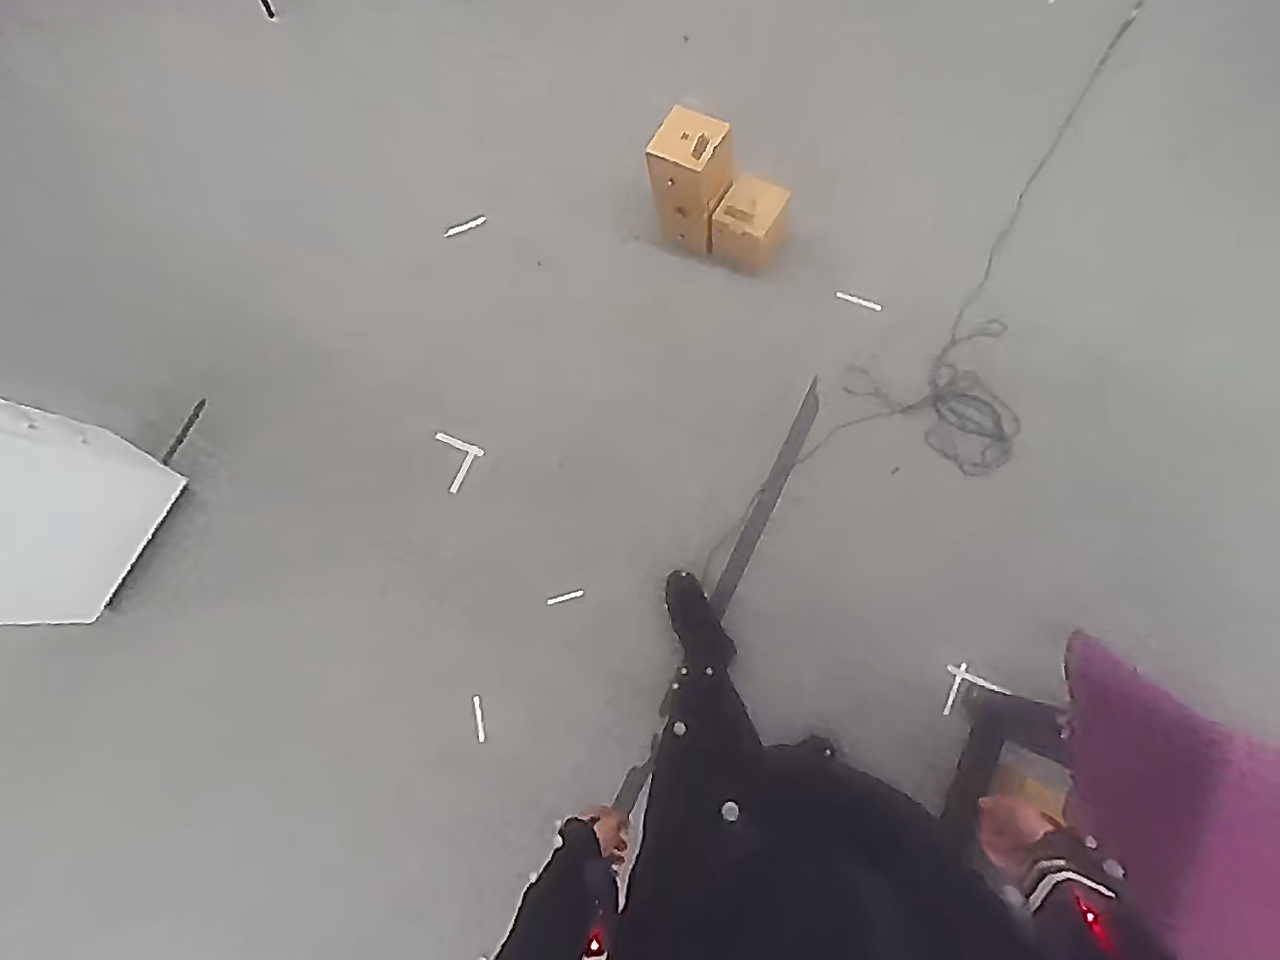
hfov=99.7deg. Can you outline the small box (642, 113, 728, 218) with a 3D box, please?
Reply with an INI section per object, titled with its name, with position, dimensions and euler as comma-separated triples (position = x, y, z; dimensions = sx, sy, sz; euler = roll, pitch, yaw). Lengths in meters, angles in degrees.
[small box]
position = 0.131, -0.867, 1.508
dimensions = 0.179, 0.176, 0.168
euler = 29, 81, 15
